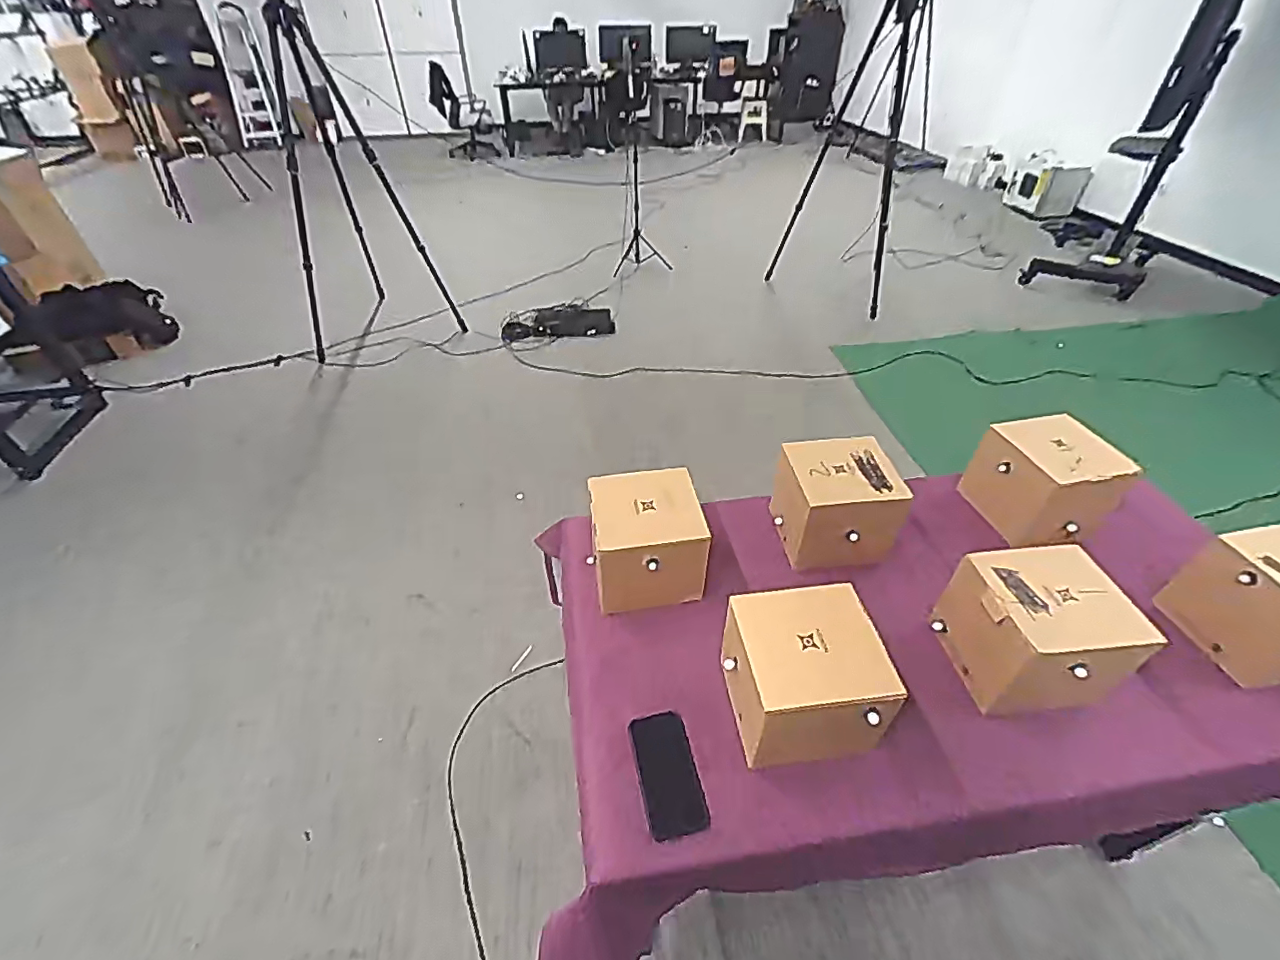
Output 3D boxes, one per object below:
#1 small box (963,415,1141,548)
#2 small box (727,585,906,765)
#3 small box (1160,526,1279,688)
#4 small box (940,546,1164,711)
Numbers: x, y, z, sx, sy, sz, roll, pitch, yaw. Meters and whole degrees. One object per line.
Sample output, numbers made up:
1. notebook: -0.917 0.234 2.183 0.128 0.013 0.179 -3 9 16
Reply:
1. small box: 0.752 0.002 1.015 0.168 0.176 0.179 -9 43 -7
2. small box: 0.221 0.267 0.739 0.179 0.176 0.168 -5 42 -5
3. small box: 0.956 0.185 0.805 0.179 0.176 0.168 -7 42 -6
4. small box: 0.568 0.217 0.783 0.179 0.176 0.168 -4 42 -4
